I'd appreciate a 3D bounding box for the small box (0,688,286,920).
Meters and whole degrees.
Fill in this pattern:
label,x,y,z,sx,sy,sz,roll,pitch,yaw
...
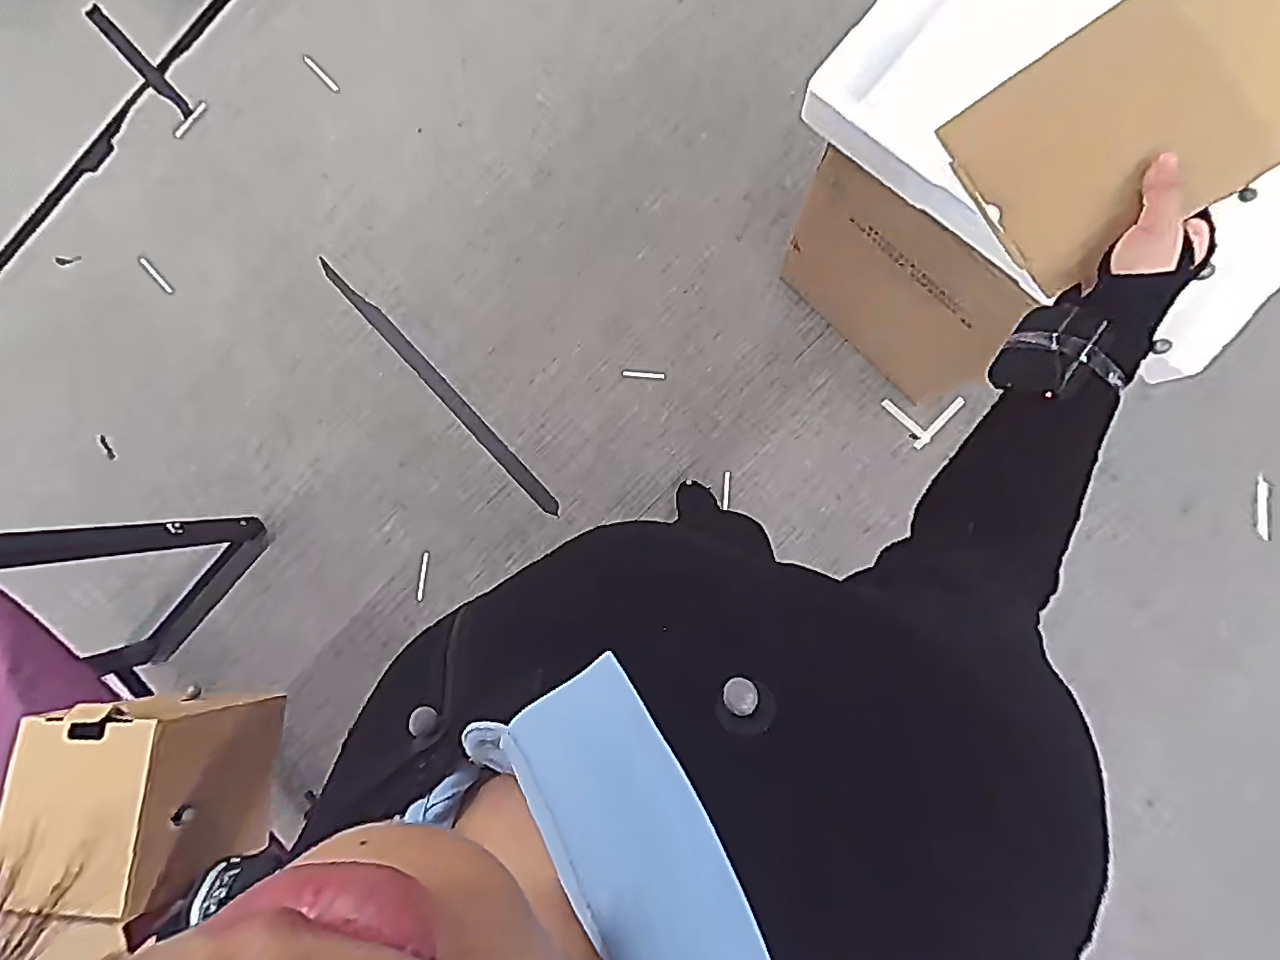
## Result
label,x,y,z,sx,sy,sz,roll,pitch,yaw
small box,-0.534,0.338,0.600,0.168,0.176,0.179,-2,76,7
